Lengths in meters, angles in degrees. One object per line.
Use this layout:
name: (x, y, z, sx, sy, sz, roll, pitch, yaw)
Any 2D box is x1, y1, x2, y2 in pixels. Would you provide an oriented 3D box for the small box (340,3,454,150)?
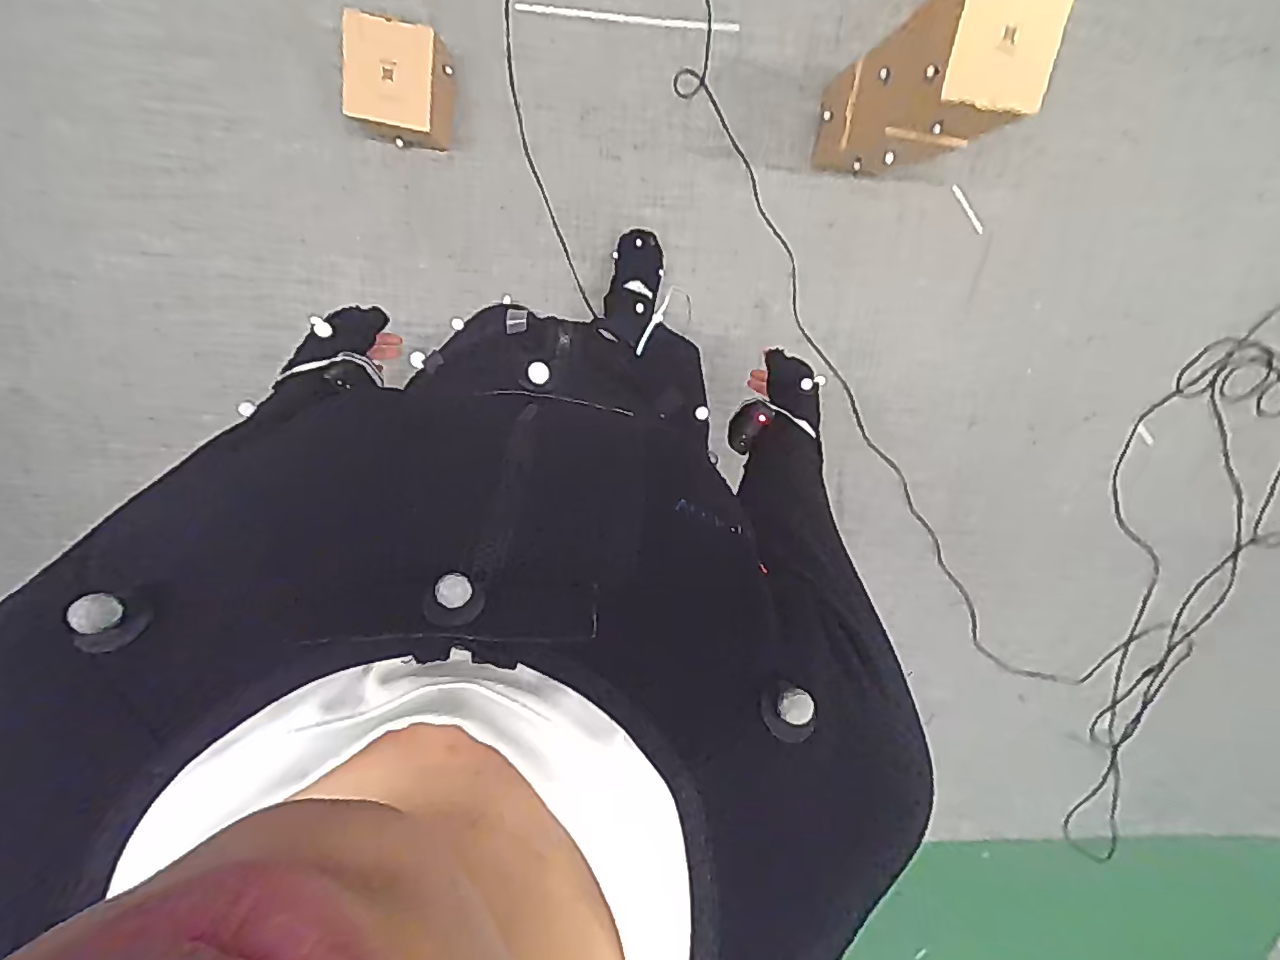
small box: (-0.481, -0.796, 1.088, 0.168, 0.176, 0.179, 8, 109, -7)

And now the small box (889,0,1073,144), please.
small box: (0.534, -0.672, 0.873, 0.168, 0.176, 0.179, 5, 110, -7)

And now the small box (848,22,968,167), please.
small box: (0.521, -0.720, 1.028, 0.168, 0.176, 0.179, 5, 110, -7)

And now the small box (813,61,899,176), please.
small box: (0.501, -0.777, 1.181, 0.179, 0.176, 0.168, 4, 110, -6)
